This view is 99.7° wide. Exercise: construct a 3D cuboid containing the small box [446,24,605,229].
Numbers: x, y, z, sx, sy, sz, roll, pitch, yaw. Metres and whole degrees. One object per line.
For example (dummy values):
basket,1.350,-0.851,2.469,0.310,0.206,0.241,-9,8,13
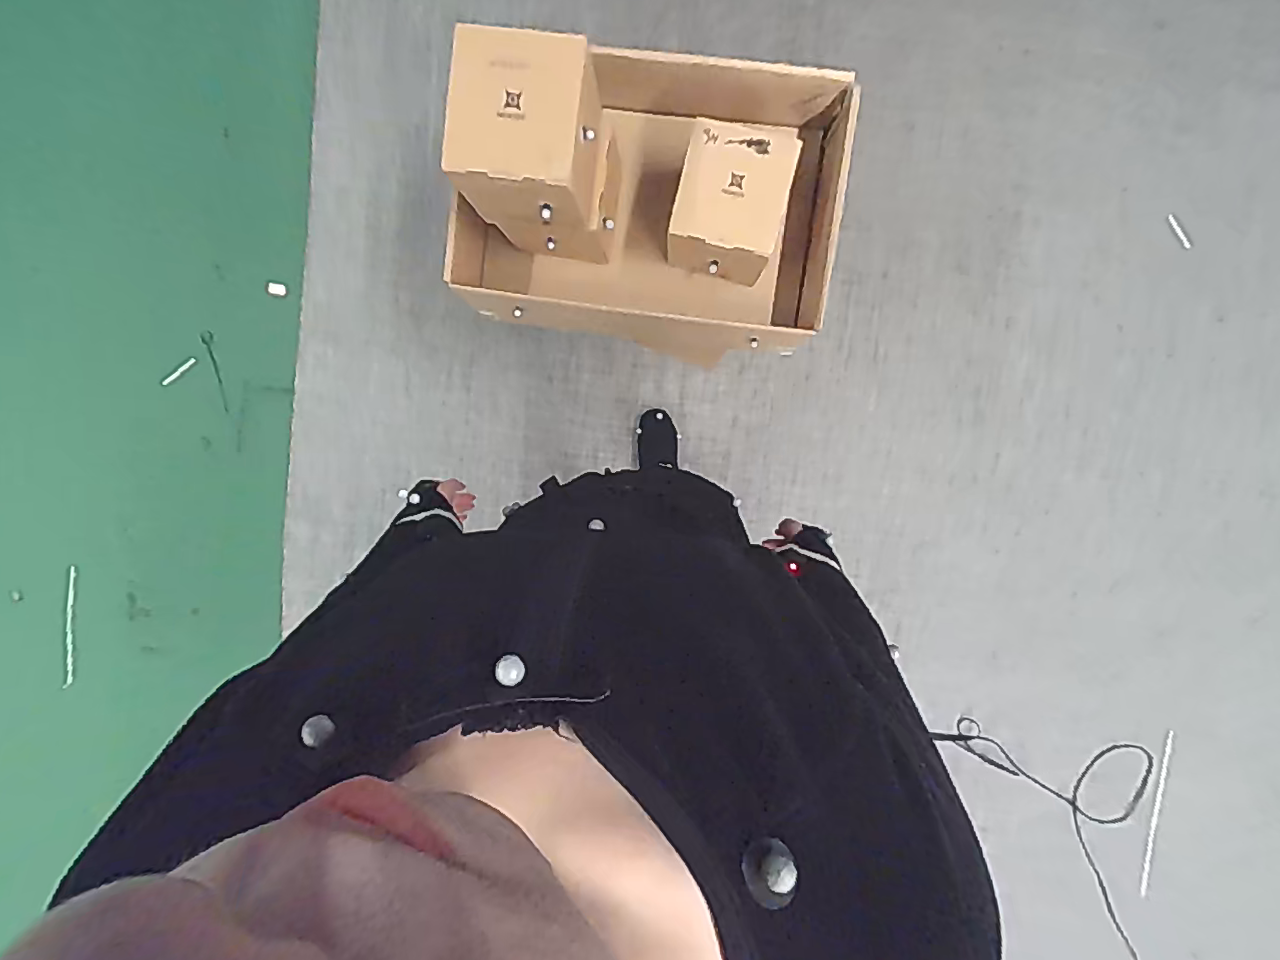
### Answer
small box,-0.148,-0.472,0.750,0.168,0.176,0.179,9,94,3
